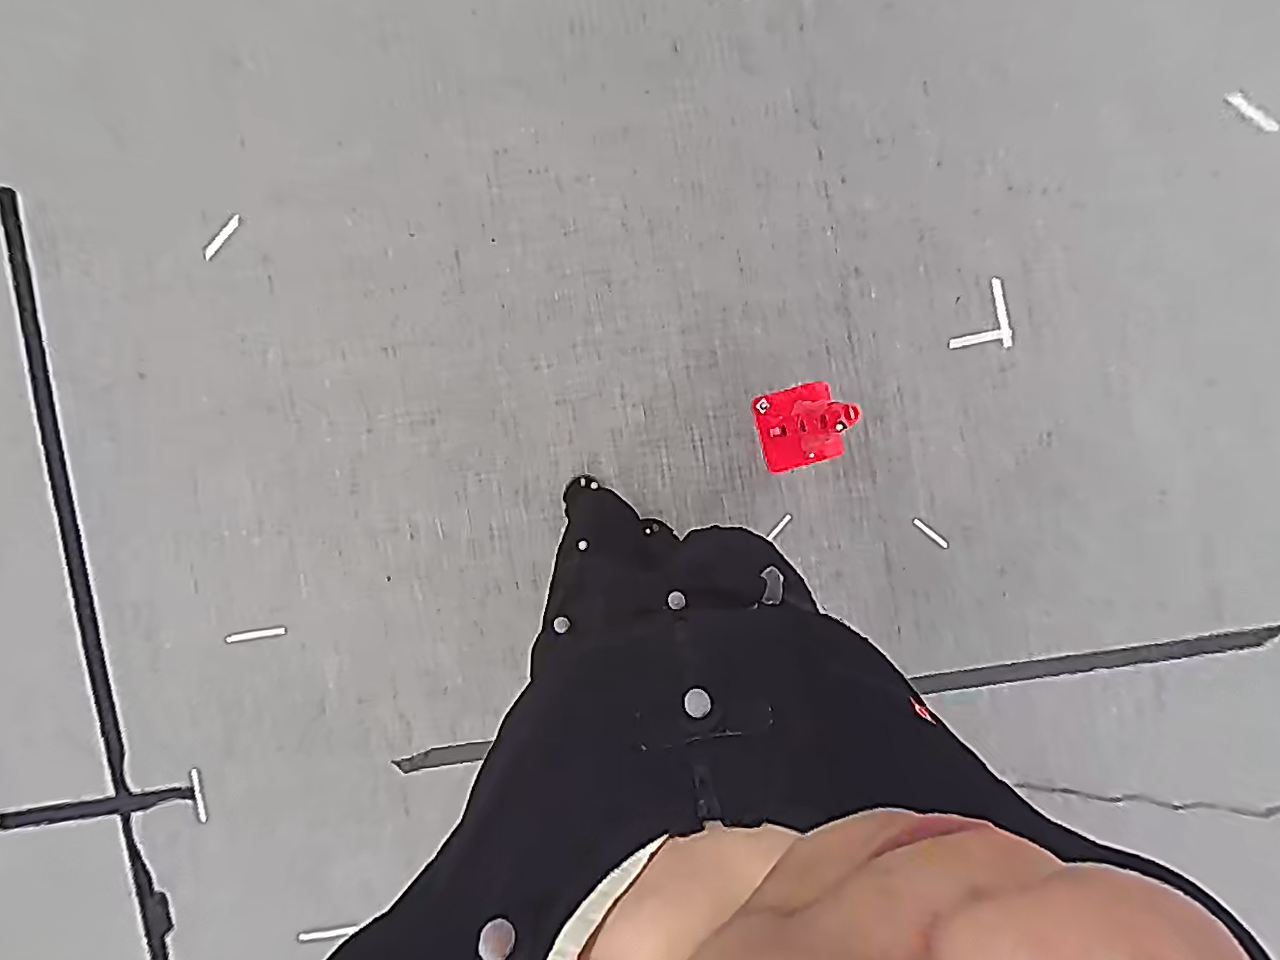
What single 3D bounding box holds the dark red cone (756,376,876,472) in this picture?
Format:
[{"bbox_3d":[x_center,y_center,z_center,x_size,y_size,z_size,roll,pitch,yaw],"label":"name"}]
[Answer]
[{"bbox_3d":[0.398,-0.129,1.158,0.202,0.394,0.201,-17,92,1],"label":"dark red cone"}]
